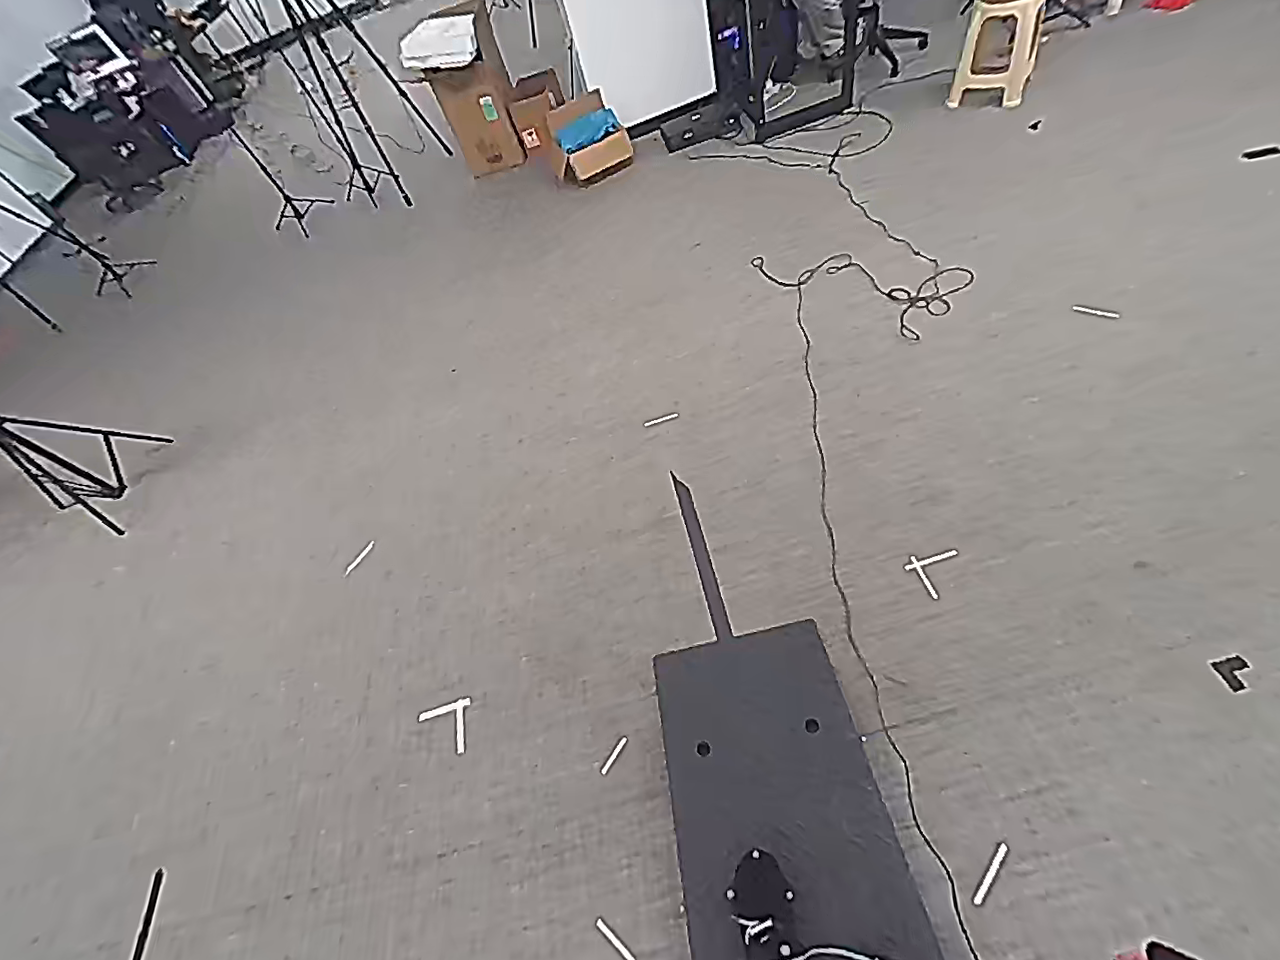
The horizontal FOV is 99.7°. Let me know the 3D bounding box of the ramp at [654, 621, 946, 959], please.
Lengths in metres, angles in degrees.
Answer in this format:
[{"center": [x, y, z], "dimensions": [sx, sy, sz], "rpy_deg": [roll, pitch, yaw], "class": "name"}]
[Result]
[{"center": [0.322, 0.810, 1.238], "dimensions": [0.509, 0.206, 0.991], "rpy_deg": [-18, 52, 6], "class": "ramp"}]
